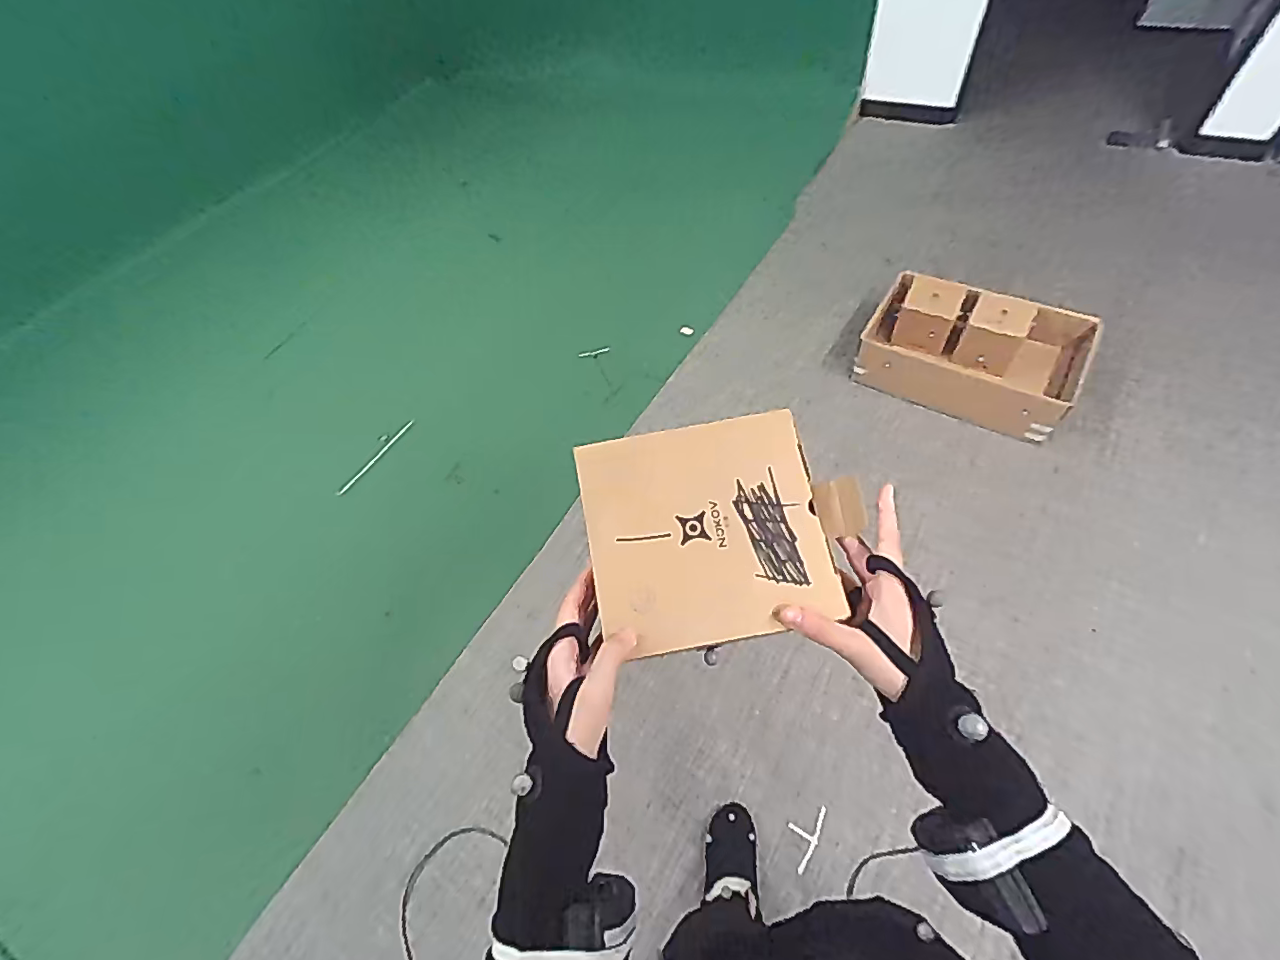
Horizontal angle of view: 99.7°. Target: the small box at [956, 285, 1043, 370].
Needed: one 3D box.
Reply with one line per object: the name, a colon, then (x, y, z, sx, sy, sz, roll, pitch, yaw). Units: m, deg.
small box: (1.150, -0.489, 1.742, 0.168, 0.176, 0.179, 26, 66, 25)
